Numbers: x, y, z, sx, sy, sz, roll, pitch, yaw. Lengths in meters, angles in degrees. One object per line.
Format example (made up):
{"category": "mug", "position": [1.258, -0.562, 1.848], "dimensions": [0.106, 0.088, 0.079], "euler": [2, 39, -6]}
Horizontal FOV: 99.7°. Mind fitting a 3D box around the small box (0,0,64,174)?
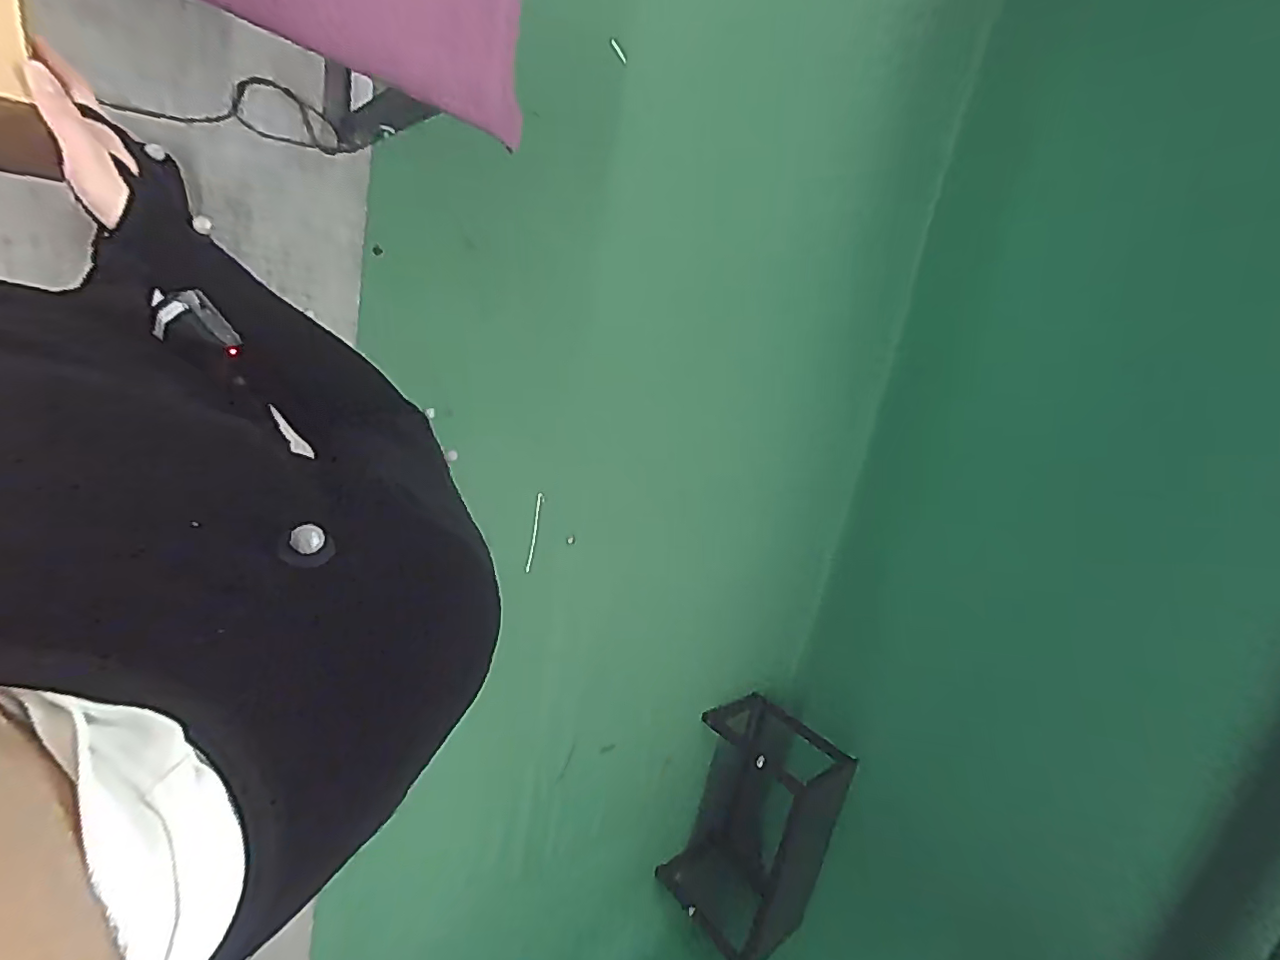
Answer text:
{"category": "small box", "position": [-0.552, -0.358, 0.389], "dimensions": [0.168, 0.176, 0.179], "euler": [-8, 100, -41]}
